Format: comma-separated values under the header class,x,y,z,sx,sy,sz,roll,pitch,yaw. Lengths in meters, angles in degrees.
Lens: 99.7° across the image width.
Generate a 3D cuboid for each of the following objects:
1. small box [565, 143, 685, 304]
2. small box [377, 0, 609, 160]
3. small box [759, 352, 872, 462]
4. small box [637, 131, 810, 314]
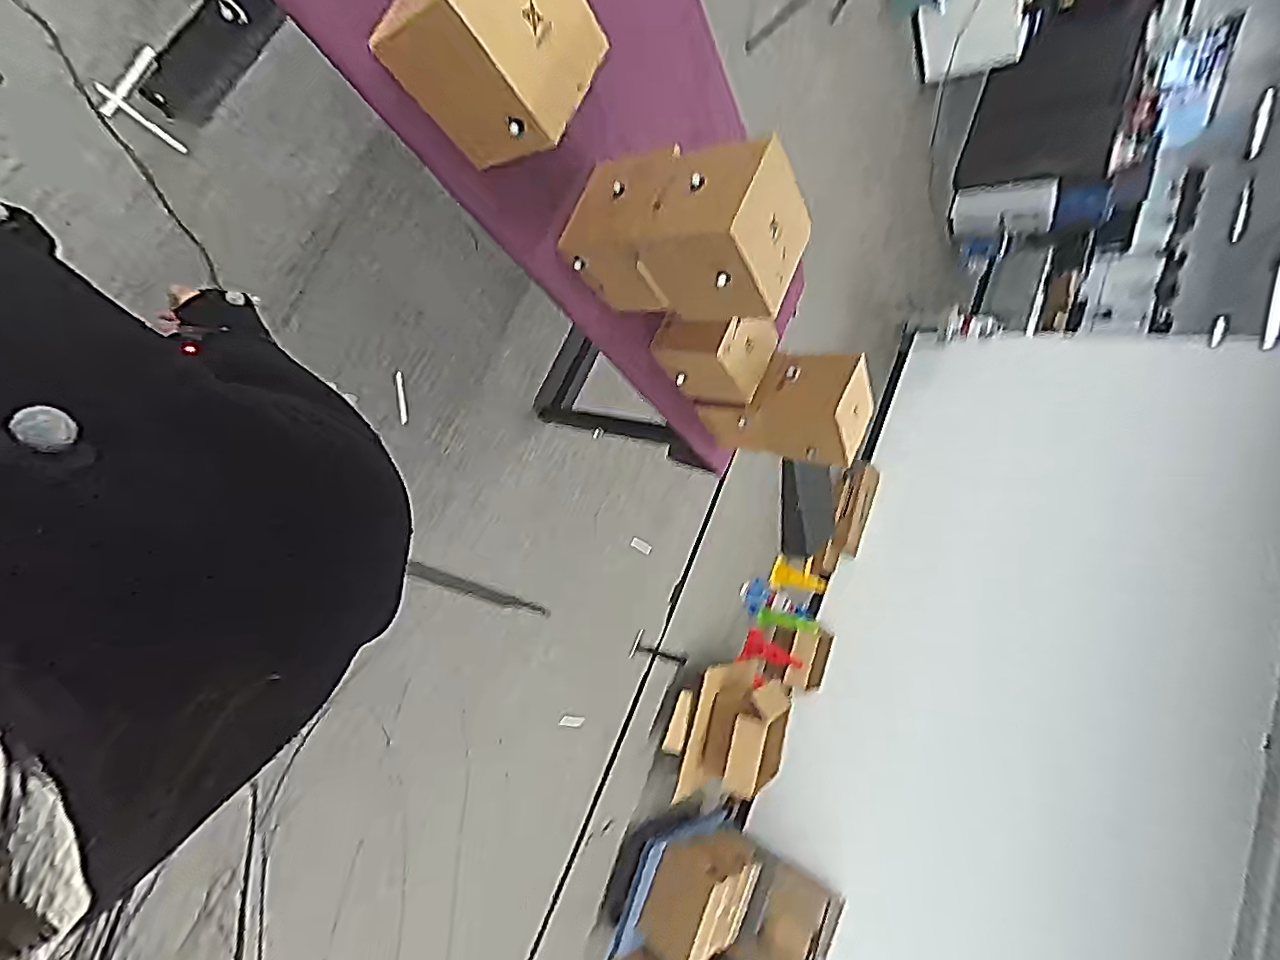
class,x,y,z,sx,sy,sz,roll,pitch,yaw
small box,0.002,-0.410,0.899,0.168,0.176,0.179,35,74,-50
small box,-0.175,-0.522,0.649,0.179,0.176,0.168,36,74,-50
small box,0.384,-0.165,1.181,0.168,0.176,0.179,-59,137,-22
small box,0.124,-0.363,0.798,0.179,0.176,0.168,39,72,-50
